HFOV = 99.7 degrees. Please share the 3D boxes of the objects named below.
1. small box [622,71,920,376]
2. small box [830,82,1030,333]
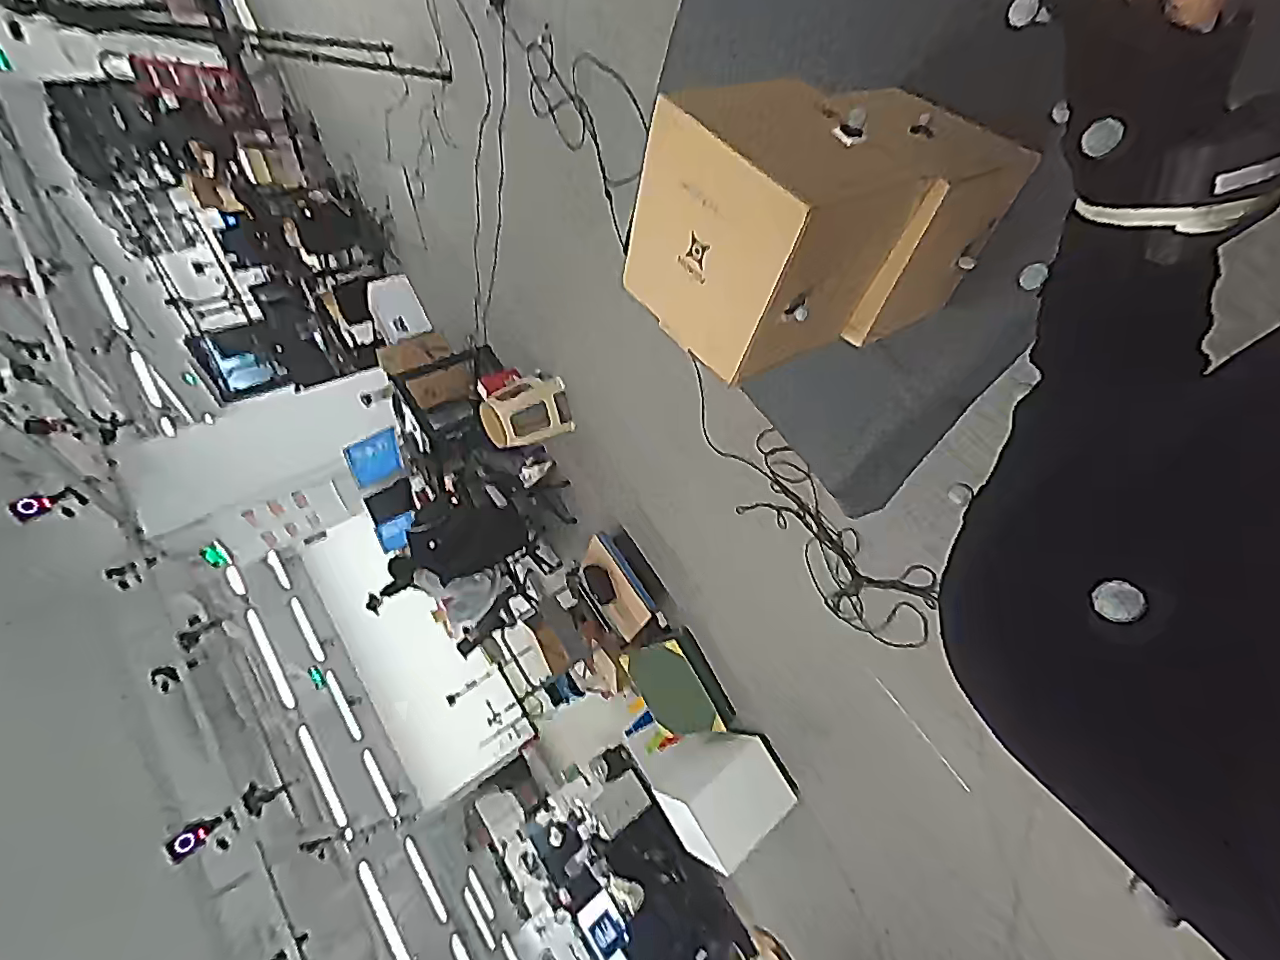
[{"bbox_3d":[0.108,-0.231,0.488,0.168,0.176,0.179,49,149,20],"label":"small box"},{"bbox_3d":[0.243,-0.287,0.561,0.179,0.176,0.168,47,150,24],"label":"small box"}]
